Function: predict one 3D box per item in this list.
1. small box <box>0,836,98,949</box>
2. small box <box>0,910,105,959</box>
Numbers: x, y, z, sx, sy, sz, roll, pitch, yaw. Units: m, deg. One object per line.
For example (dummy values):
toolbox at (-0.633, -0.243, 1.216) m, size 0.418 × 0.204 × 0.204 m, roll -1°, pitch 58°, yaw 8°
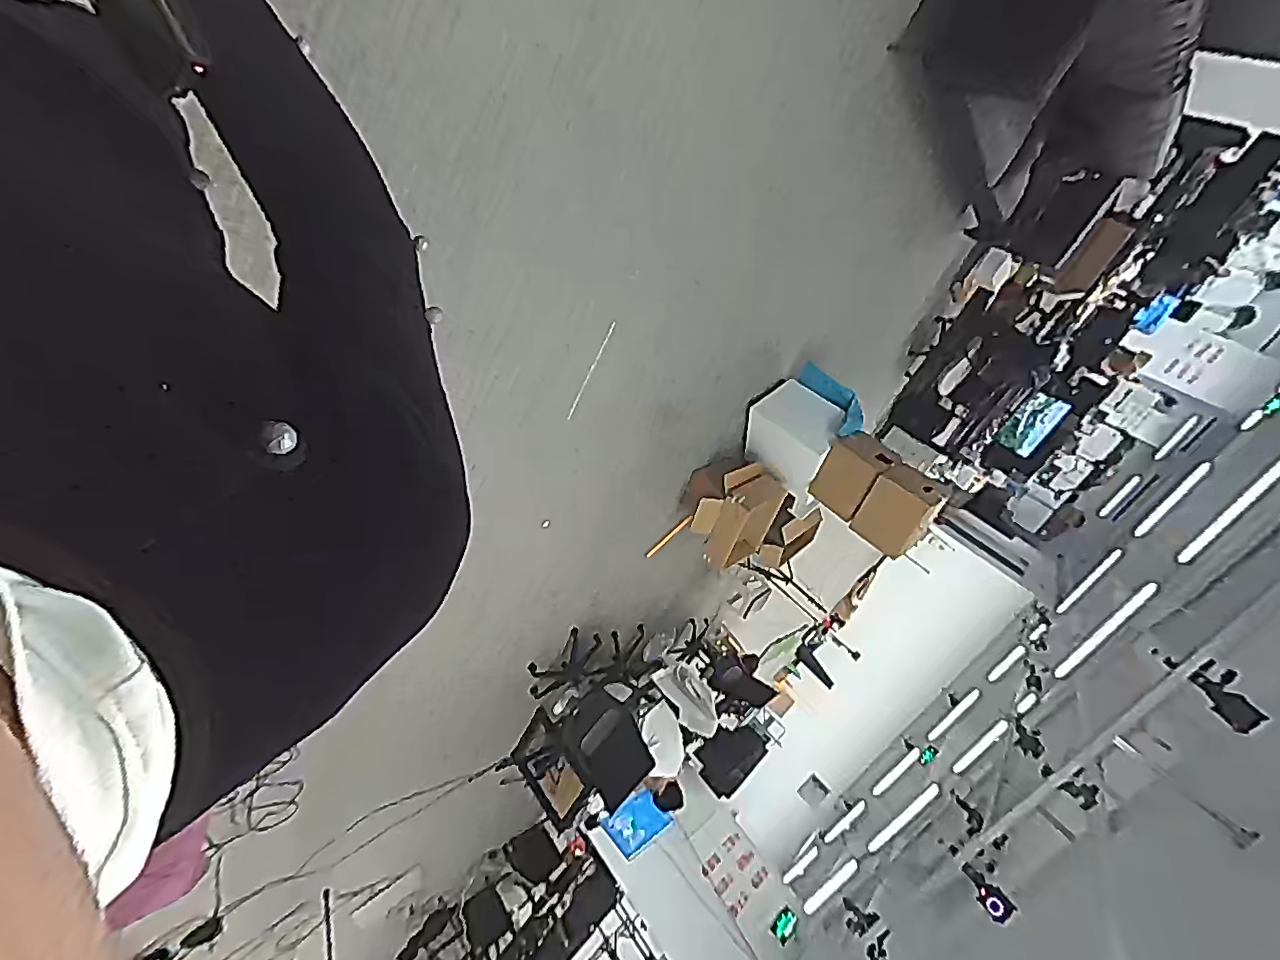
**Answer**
small box at (-1.223, 0.867, 1.080) m, size 0.179 × 0.176 × 0.168 m, roll 2°, pitch 125°, yaw -51°
small box at (-1.121, 0.961, 0.997) m, size 0.179 × 0.176 × 0.168 m, roll 2°, pitch 125°, yaw -52°
